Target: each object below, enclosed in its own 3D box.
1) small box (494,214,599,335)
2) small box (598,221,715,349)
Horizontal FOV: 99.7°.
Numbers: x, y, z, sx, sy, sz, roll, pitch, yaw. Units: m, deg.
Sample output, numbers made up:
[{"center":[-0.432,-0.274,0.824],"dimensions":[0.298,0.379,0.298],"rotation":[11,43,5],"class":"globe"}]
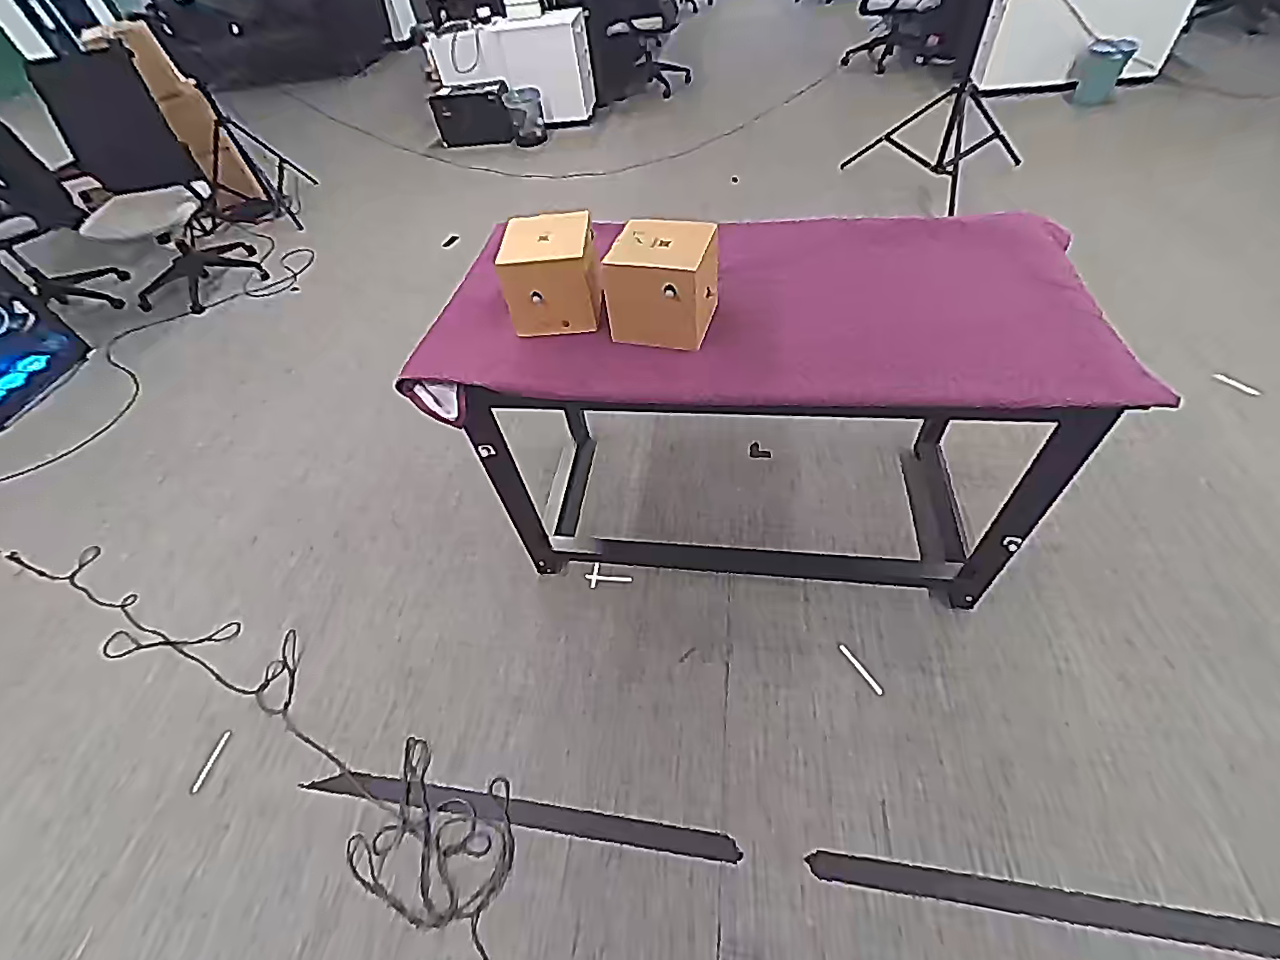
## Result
[{"center":[-0.179,-0.409,1.097],"dimensions":[0.168,0.176,0.179],"rotation":[-4,51,5],"class":"small box"},{"center":[0.041,-0.369,1.031],"dimensions":[0.179,0.176,0.168],"rotation":[10,52,16],"class":"small box"}]
